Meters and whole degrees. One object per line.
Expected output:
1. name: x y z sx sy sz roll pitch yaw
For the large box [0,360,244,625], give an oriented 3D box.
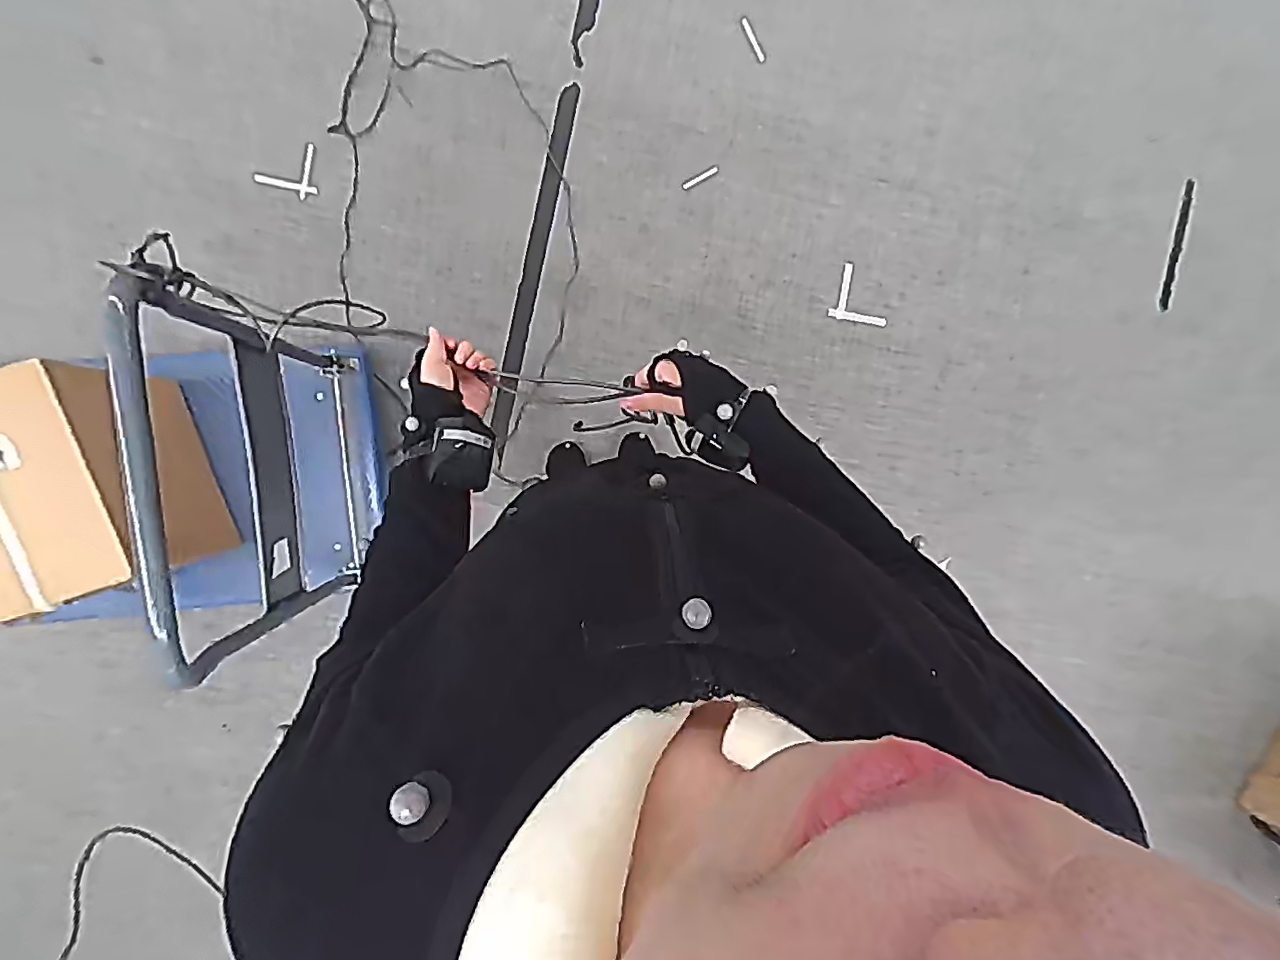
1. large box: -1.102 0.021 1.075 0.320 0.320 0.408 -19 95 -4
